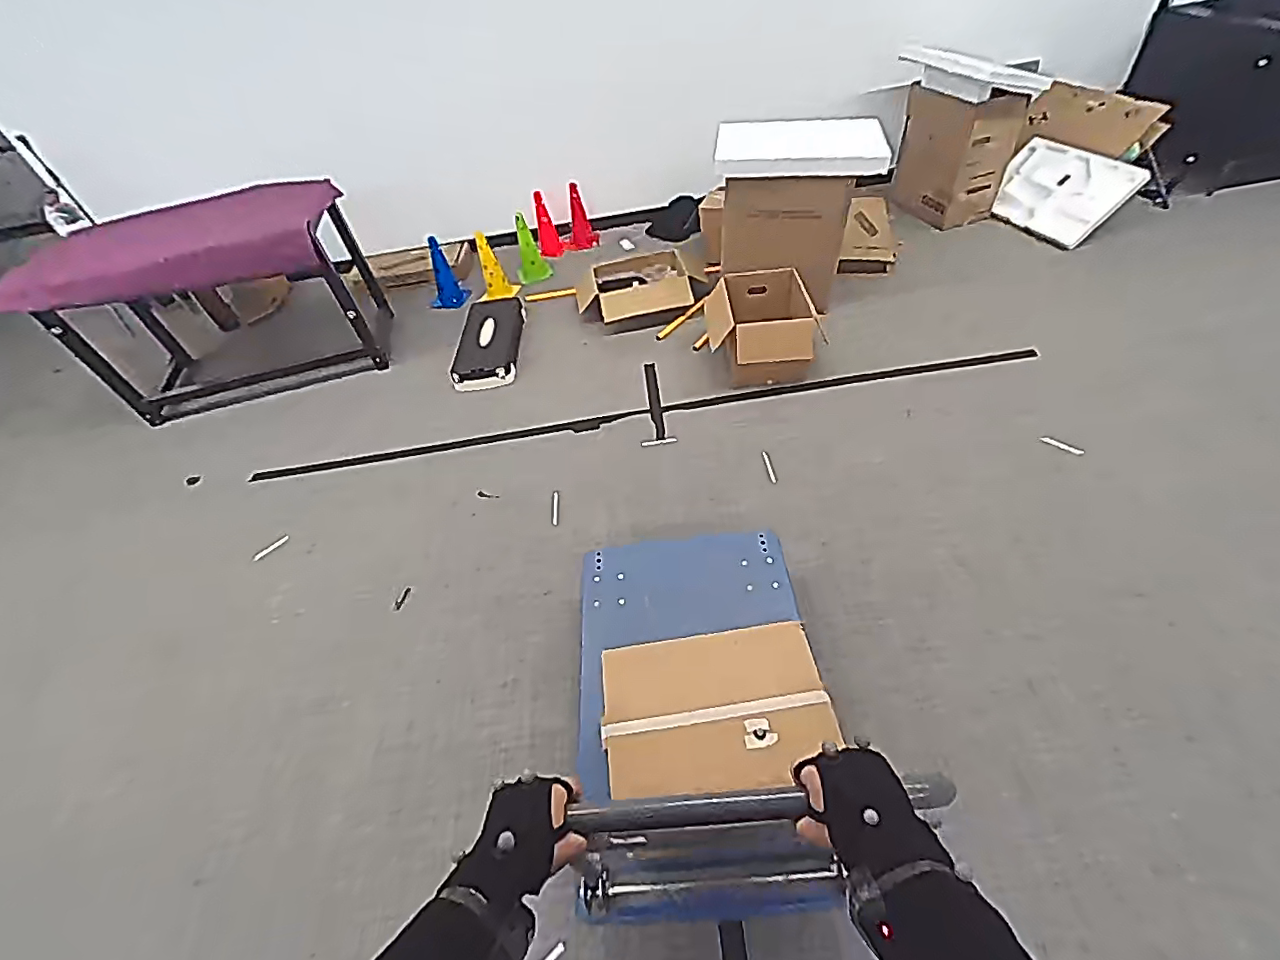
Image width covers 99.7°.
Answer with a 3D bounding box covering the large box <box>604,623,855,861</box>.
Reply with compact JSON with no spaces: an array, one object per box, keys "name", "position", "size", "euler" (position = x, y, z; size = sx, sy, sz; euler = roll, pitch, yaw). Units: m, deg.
[{"name":"large box","position":[0.155,0.532,1.095],"size":[0.408,0.320,0.320],"euler":[-9,47,-1]}]
